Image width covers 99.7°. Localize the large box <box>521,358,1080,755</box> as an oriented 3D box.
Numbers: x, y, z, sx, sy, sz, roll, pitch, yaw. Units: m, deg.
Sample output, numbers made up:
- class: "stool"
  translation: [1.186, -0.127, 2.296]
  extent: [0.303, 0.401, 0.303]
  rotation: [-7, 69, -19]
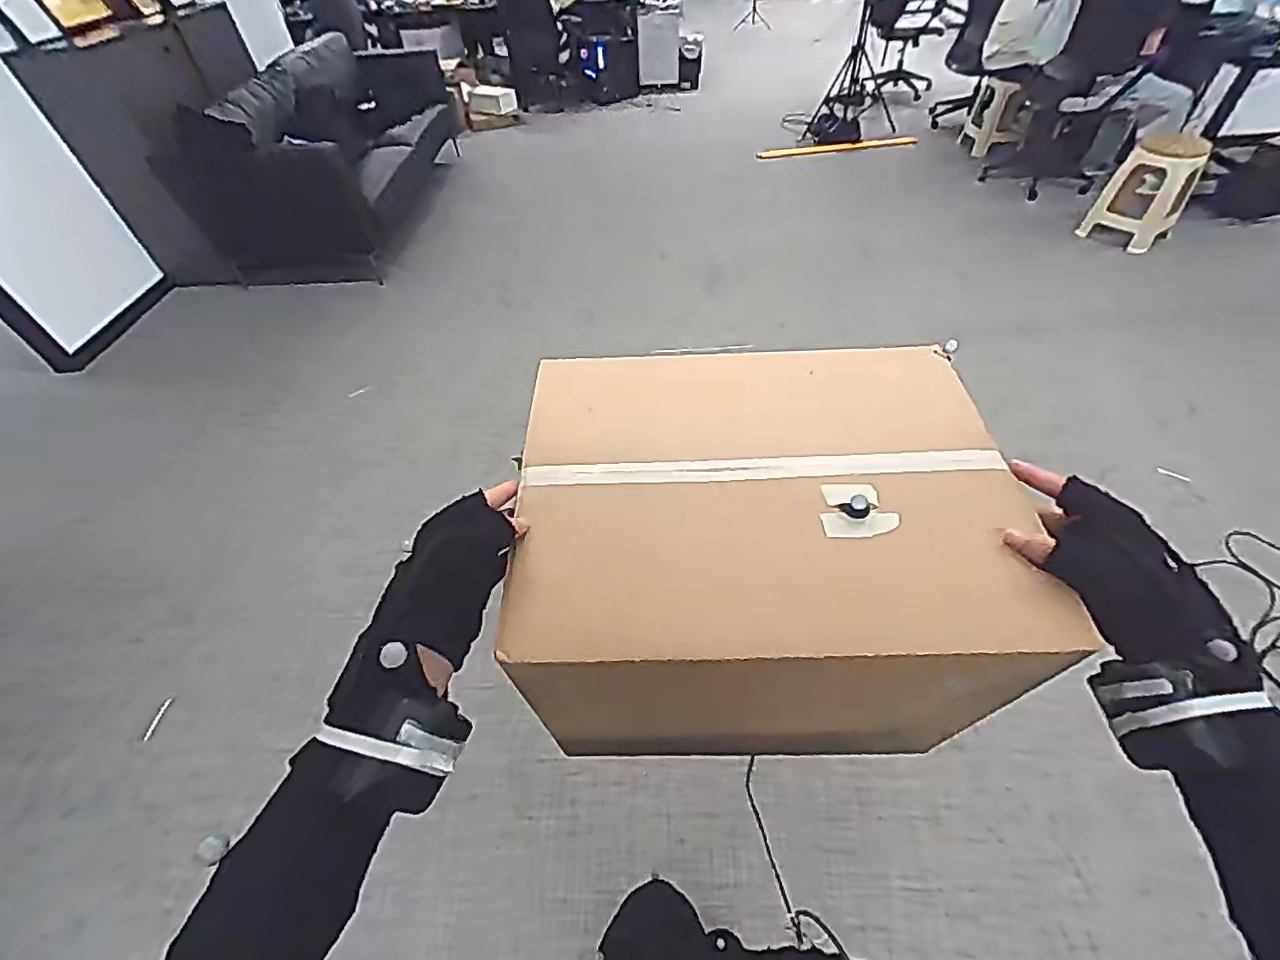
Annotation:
- class: "large box"
  translation: [0.111, 0.091, 0.585]
  extent: [0.408, 0.320, 0.320]
  rotation: [-1, 52, 1]
